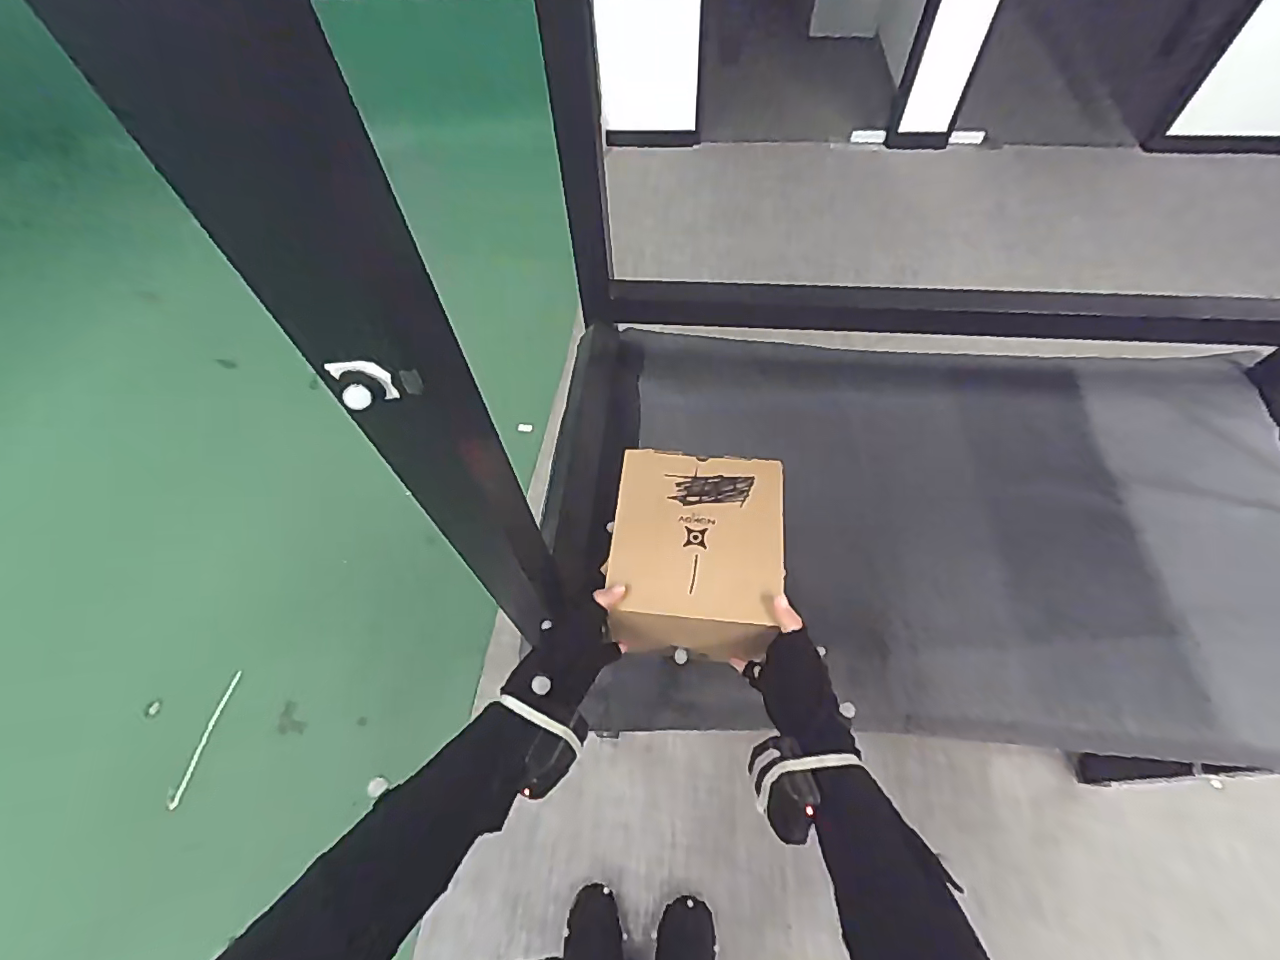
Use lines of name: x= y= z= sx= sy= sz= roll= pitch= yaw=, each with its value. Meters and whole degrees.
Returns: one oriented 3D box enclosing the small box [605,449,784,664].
small box: x=0.060 y=0.088 z=0.595 sx=0.168 sy=0.176 sz=0.179 roll=5 pitch=60 yaw=5
